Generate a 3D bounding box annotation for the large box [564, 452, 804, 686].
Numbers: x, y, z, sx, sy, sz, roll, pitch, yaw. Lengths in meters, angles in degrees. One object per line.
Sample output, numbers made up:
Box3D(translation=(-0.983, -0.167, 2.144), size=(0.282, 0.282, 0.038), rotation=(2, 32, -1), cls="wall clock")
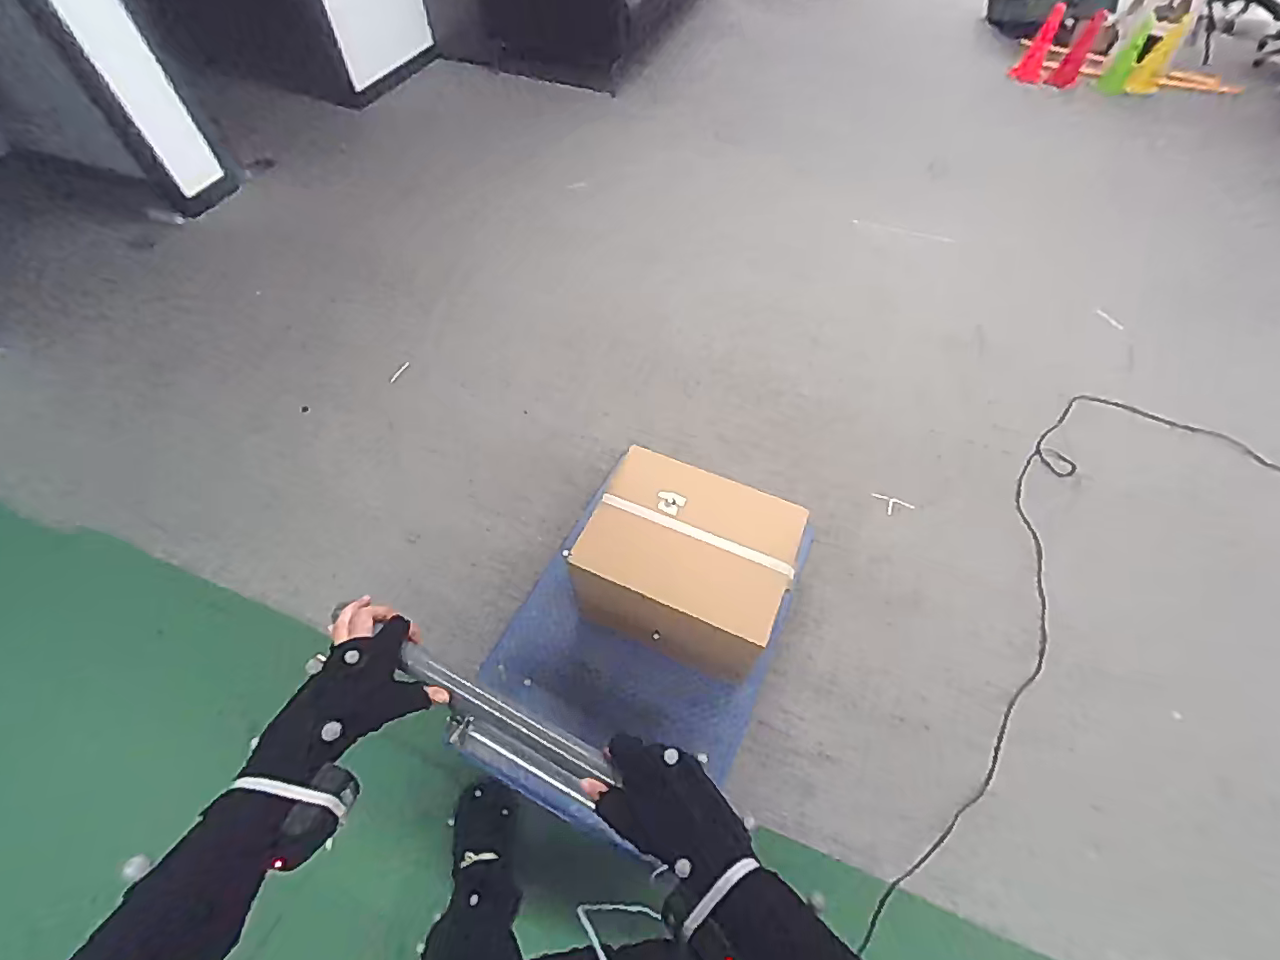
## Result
Box3D(translation=(0.099, 0.200, 1.197), size=(0.408, 0.320, 0.320), rotation=(21, 58, 15), cls="large box")
